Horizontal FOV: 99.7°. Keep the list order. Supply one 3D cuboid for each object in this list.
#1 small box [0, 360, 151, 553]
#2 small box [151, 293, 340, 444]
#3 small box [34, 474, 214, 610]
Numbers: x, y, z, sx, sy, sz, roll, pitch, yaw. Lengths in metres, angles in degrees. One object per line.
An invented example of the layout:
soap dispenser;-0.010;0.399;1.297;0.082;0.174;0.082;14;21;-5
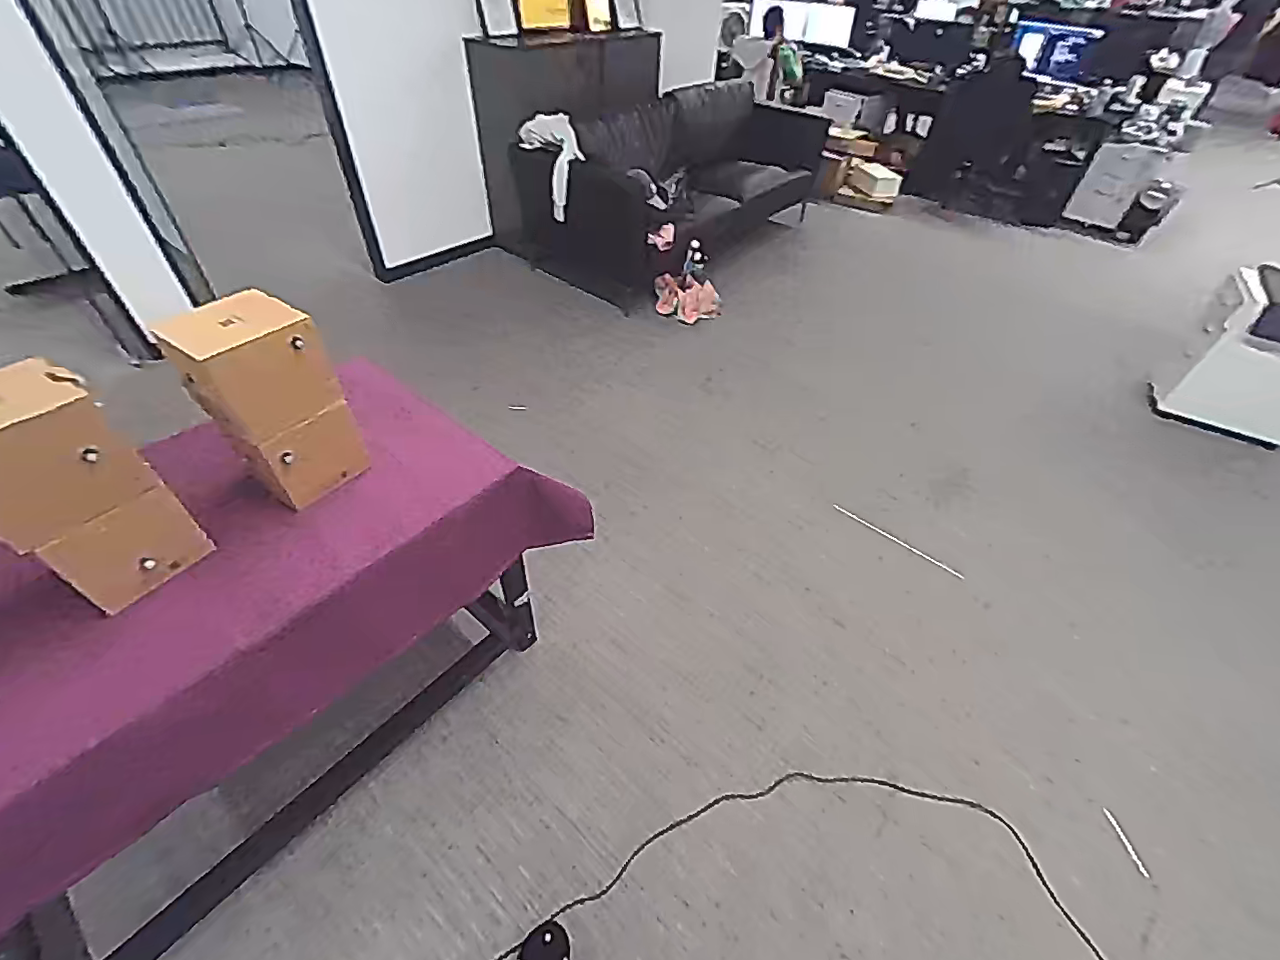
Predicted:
small box;-0.846;-0.034;0.758;0.168;0.176;0.179;27;50;23
small box;-0.658;-0.189;0.925;0.168;0.176;0.179;27;49;22
small box;-0.854;0.078;0.876;0.179;0.176;0.168;27;50;21
